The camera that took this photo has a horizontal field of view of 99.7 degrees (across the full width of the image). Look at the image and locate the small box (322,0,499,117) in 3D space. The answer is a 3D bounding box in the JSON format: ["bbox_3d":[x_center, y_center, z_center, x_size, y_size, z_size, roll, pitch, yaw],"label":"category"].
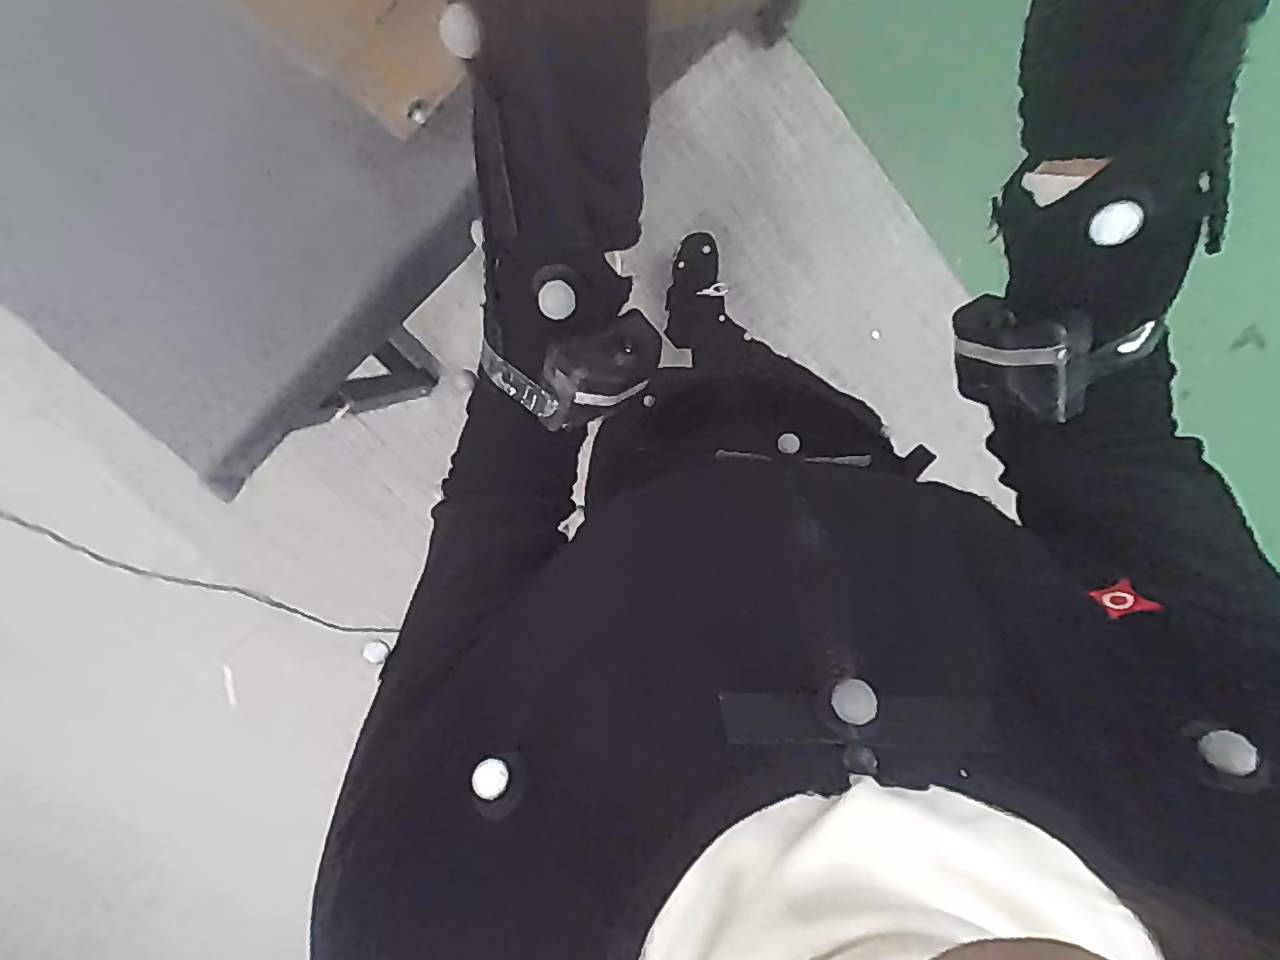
[{"bbox_3d":[-0.255,-0.470,0.485,0.179,0.176,0.168,44,101,-11],"label":"small box"}]
